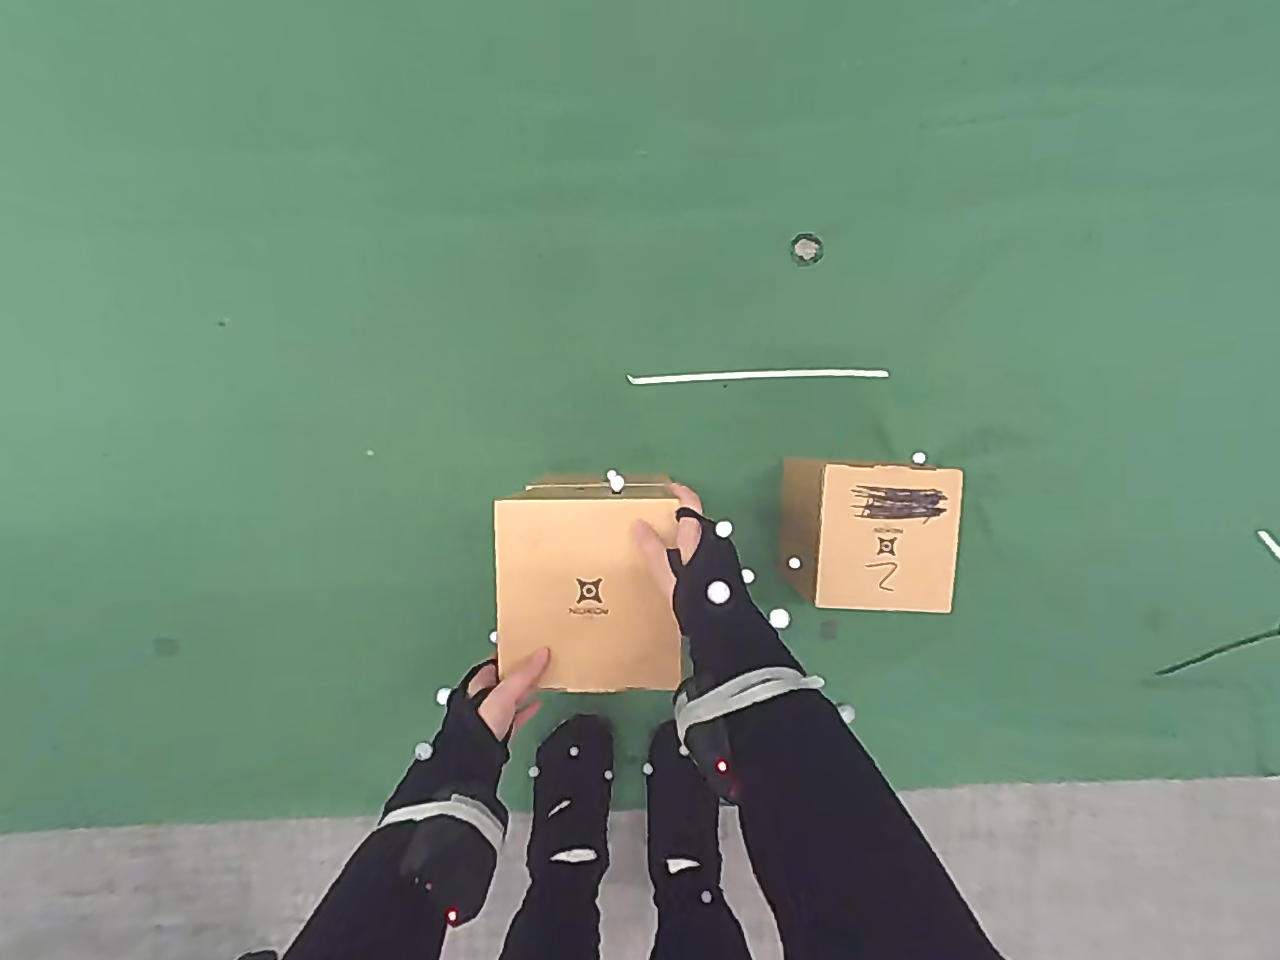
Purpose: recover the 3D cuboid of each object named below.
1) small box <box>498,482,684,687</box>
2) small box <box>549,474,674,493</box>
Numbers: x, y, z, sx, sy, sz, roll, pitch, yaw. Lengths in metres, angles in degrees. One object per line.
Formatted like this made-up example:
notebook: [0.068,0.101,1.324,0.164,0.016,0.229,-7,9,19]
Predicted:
small box: [-0.046,0.094,0.559,0.168,0.176,0.179,0,95,0]
small box: [-0.045,0.080,0.723,0.179,0.176,0.168,-1,94,1]
